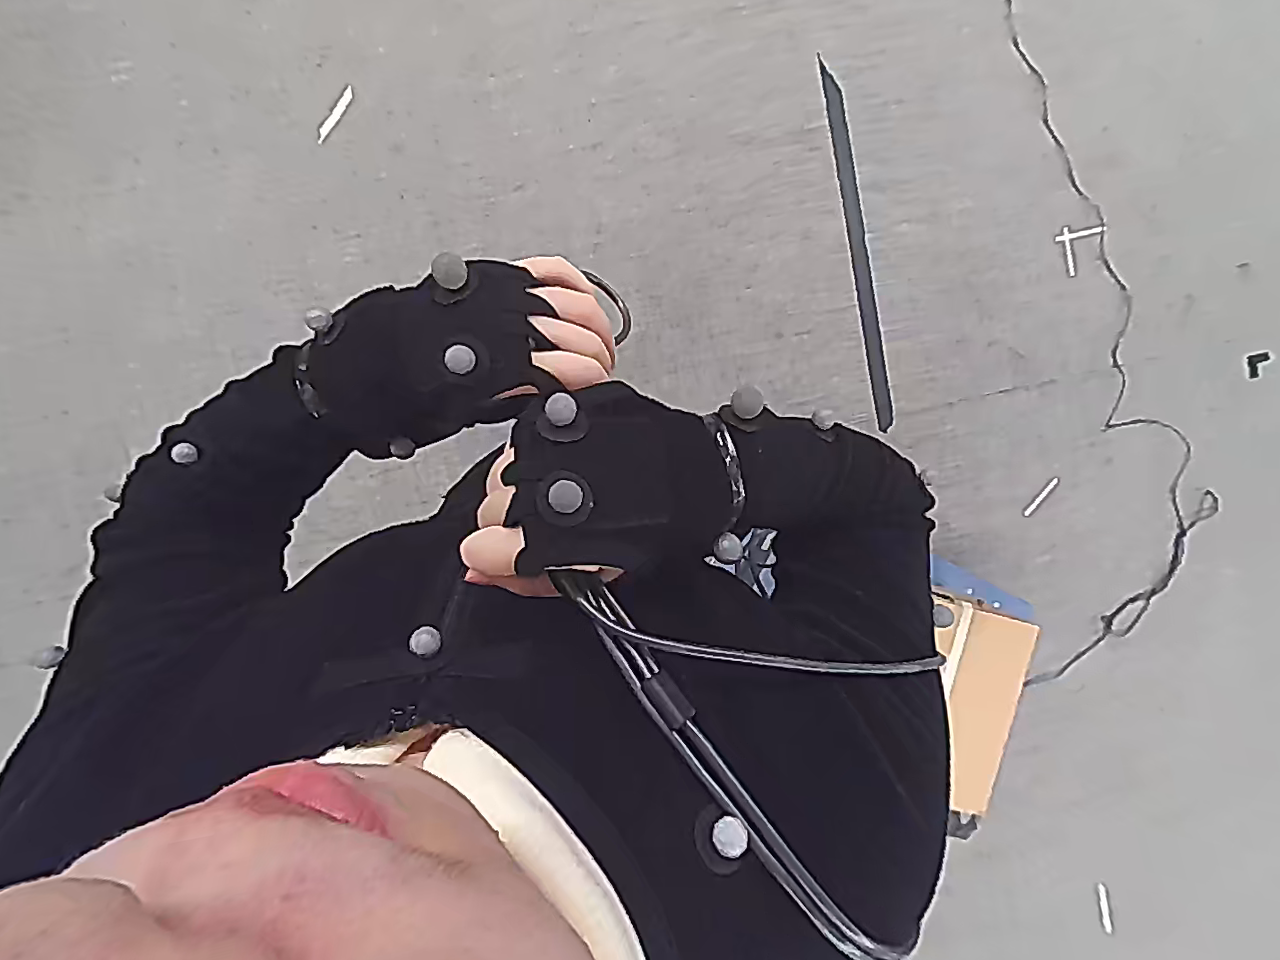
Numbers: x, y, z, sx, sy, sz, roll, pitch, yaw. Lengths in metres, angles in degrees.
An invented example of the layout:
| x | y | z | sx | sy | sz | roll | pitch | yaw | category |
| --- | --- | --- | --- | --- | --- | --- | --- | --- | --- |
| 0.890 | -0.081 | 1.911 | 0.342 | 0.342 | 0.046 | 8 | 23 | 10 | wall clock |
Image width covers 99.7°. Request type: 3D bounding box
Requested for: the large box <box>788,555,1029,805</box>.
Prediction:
| x | y | z | sx | sy | sz | roll | pitch | yaw | category |
| --- | --- | --- | --- | --- | --- | --- | --- | --- | --- |
| 0.571 | 0.419 | 1.219 | 0.320 | 0.320 | 0.408 | 15 | 93 | -3 | large box |
